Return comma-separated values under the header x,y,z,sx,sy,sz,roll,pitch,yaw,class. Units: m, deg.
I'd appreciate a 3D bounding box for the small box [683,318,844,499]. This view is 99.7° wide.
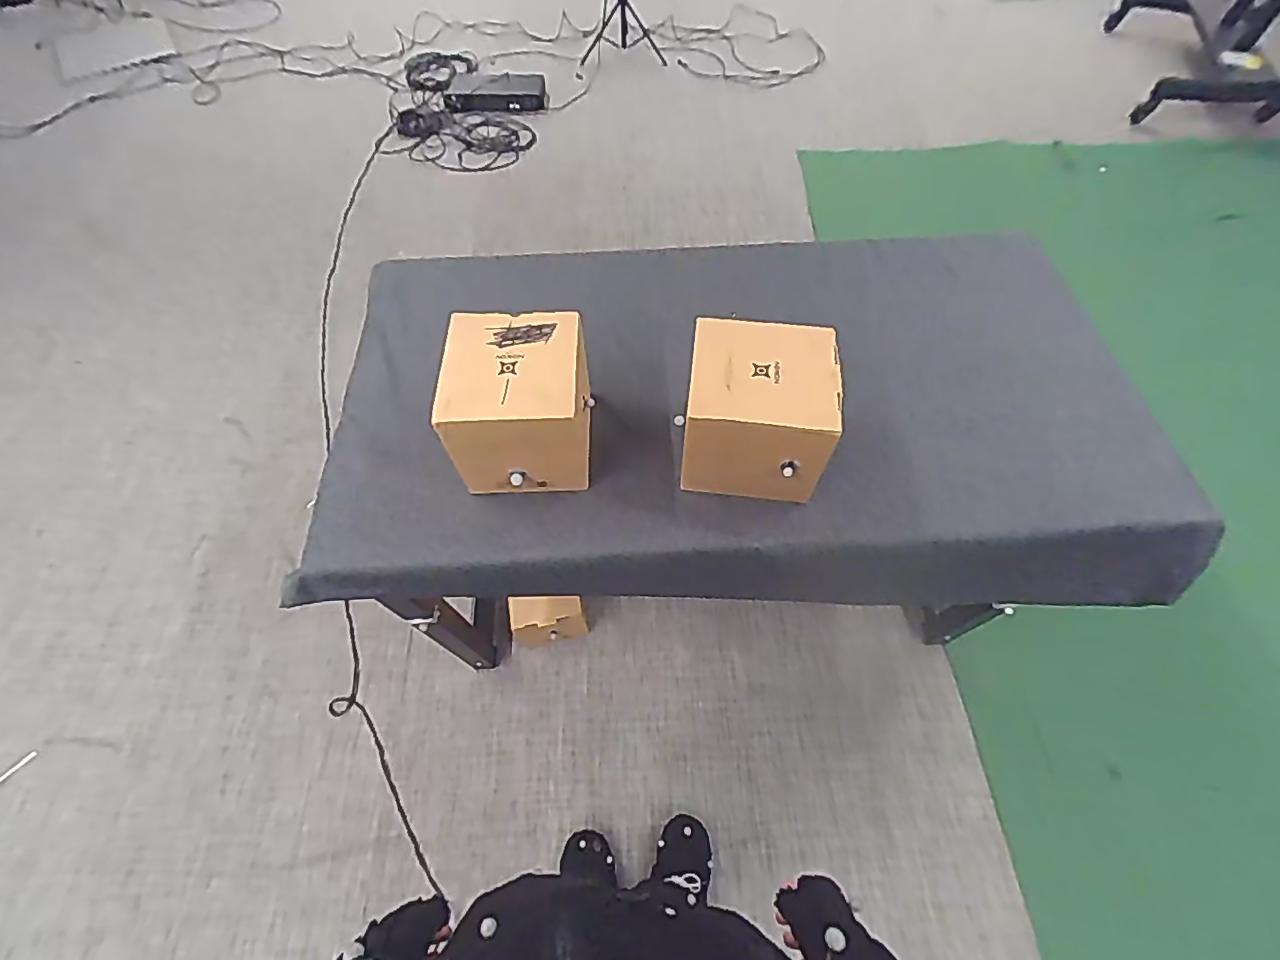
x,y,z,sx,sy,sz,roll,pitch,yaw,class
0.155,-0.088,0.718,0.179,0.176,0.168,6,60,5,small box

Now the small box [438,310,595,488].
x,y,z,sx,sy,sz,roll,pitch,yaw,class
-0.150,-0.106,0.727,0.168,0.176,0.179,-1,61,0,small box

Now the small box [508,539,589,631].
x,y,z,sx,sy,sz,roll,pitch,yaw,class
-0.225,0.270,1.356,0.168,0.176,0.179,-10,62,-5,small box
